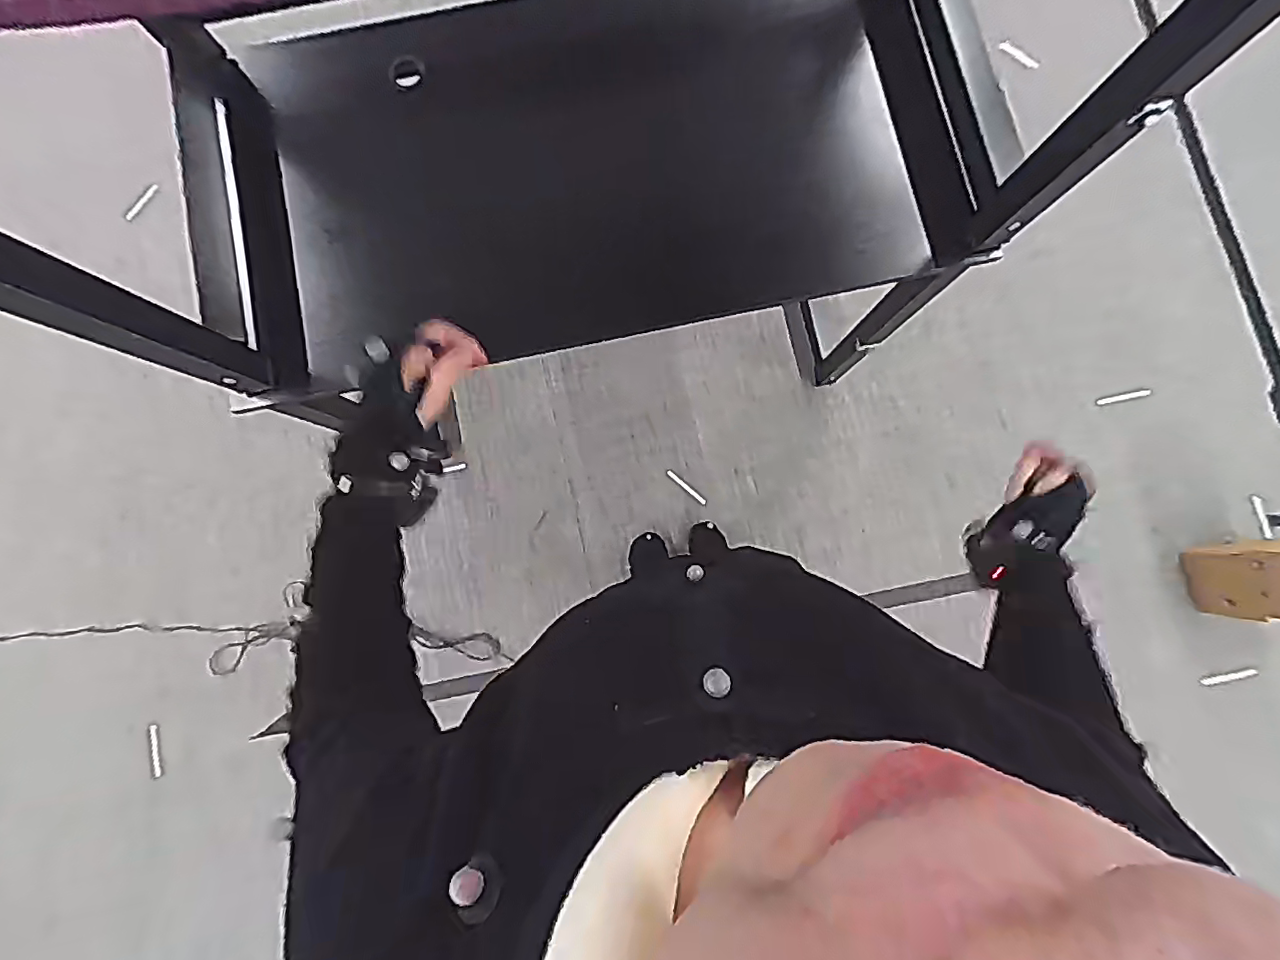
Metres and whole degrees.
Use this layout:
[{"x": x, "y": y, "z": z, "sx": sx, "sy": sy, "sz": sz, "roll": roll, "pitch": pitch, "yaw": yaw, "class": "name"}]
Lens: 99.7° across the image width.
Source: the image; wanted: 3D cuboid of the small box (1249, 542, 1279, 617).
[{"x": 1.571, "y": 0.228, "z": 1.239, "sx": 0.179, "sy": 0.176, "sz": 0.168, "roll": -11, "pitch": 85, "yaw": -2, "class": "small box"}]

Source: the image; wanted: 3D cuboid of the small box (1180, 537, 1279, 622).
[{"x": 1.577, "y": 0.251, "z": 1.401, "sx": 0.168, "sy": 0.176, "sz": 0.179, "roll": -13, "pitch": 85, "yaw": -1, "class": "small box"}]
